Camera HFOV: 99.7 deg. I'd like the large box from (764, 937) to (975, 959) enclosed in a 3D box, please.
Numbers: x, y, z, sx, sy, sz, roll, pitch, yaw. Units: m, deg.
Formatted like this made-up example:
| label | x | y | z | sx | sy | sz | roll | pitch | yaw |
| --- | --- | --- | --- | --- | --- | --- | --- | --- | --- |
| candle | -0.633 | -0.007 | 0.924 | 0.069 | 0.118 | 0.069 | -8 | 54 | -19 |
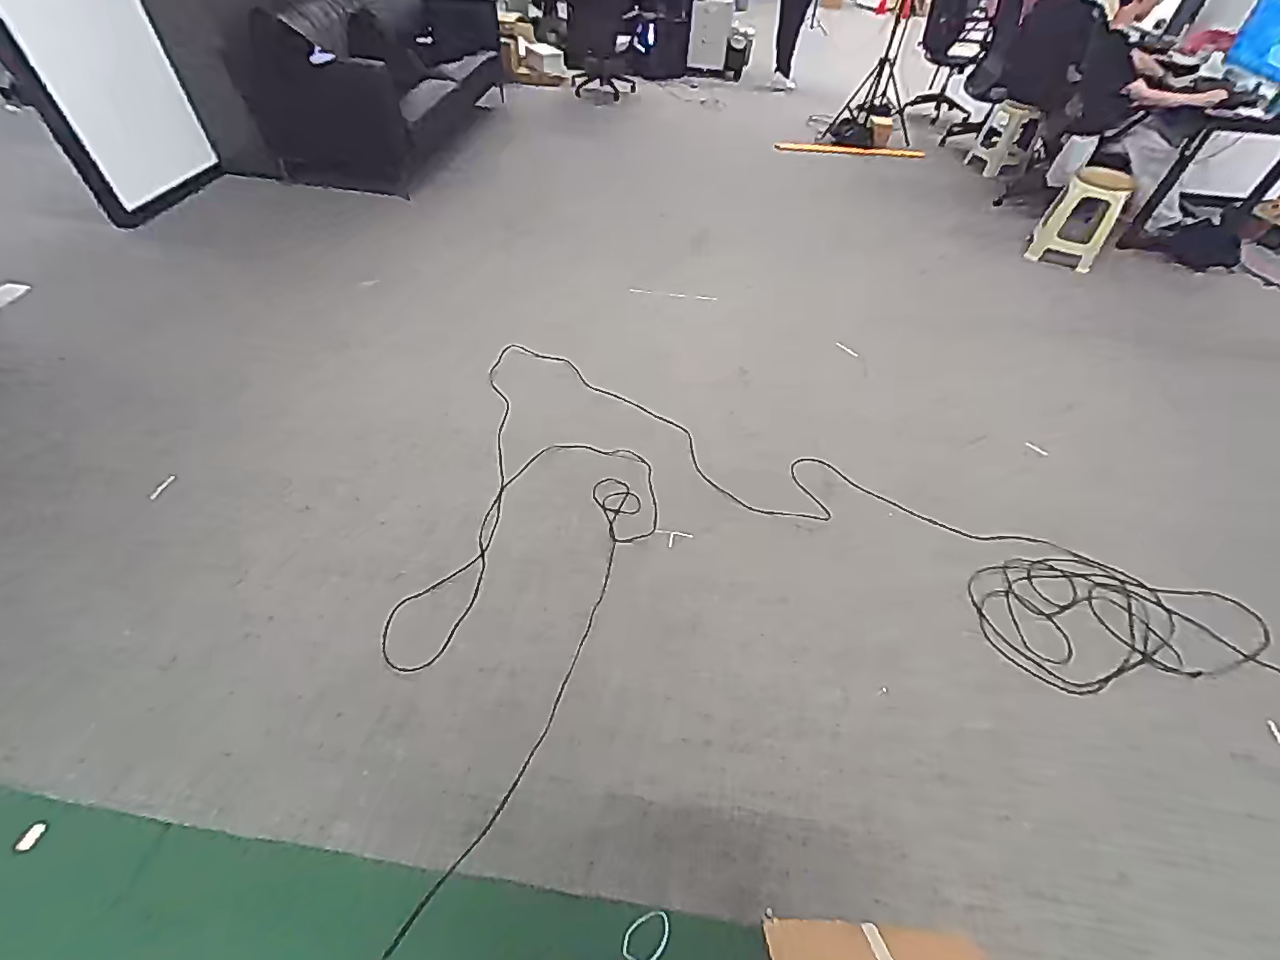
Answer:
| label | x | y | z | sx | sy | sz | roll | pitch | yaw |
| --- | --- | --- | --- | --- | --- | --- | --- | --- | --- |
| large box | 0.332 | 0.838 | 0.610 | 0.320 | 0.408 | 0.320 | 3 | 87 | 2 |
